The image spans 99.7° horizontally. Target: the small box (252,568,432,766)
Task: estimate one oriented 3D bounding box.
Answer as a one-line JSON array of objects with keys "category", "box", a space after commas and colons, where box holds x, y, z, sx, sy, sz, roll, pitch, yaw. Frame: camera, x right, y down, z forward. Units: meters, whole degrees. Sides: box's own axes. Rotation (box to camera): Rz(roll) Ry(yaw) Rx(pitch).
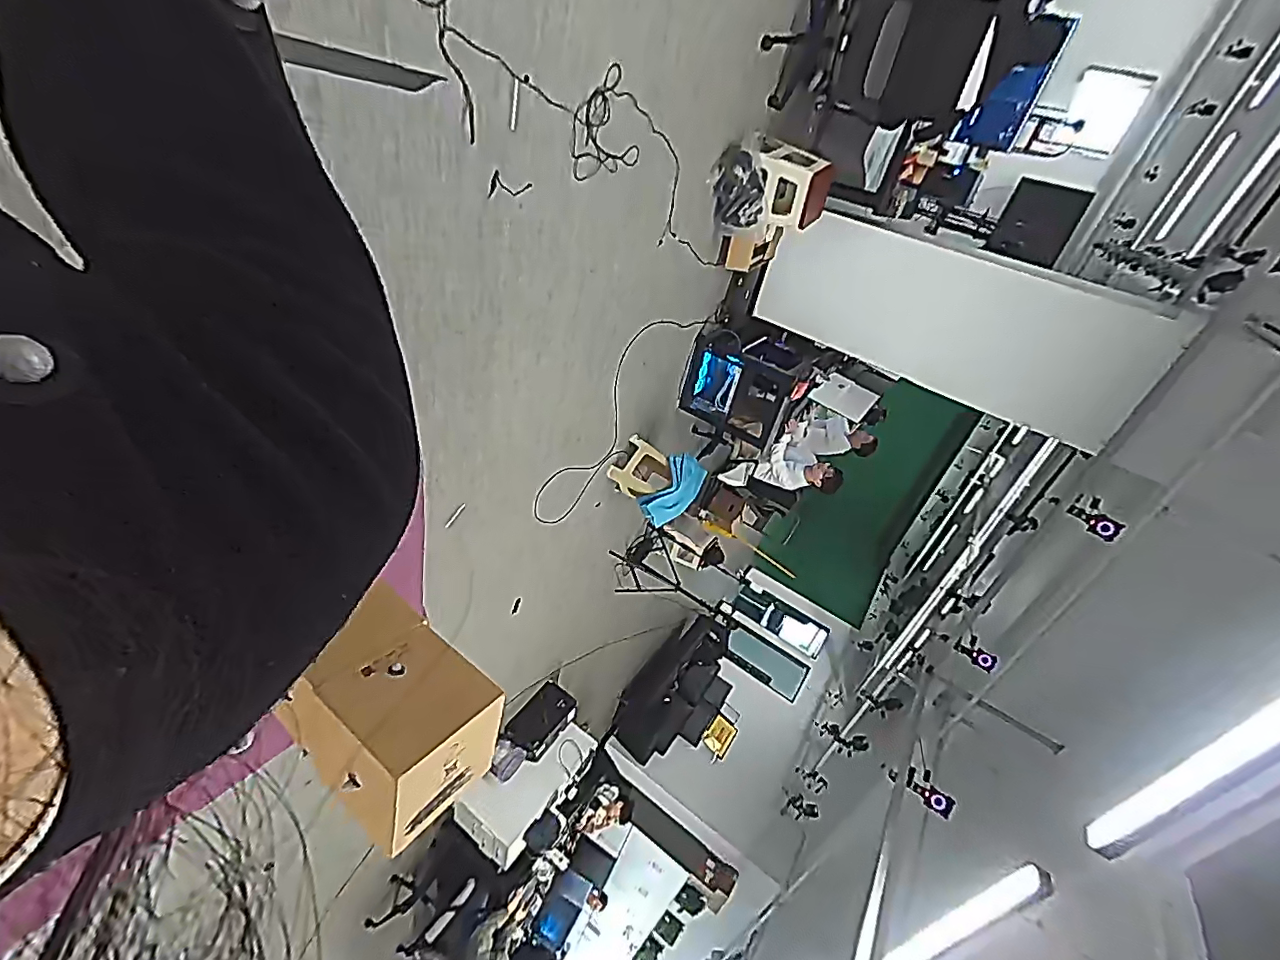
[{"category": "small box", "box": [-0.434, 0.264, 0.796, 0.168, 0.176, 0.179, -30, 143, -52]}]
